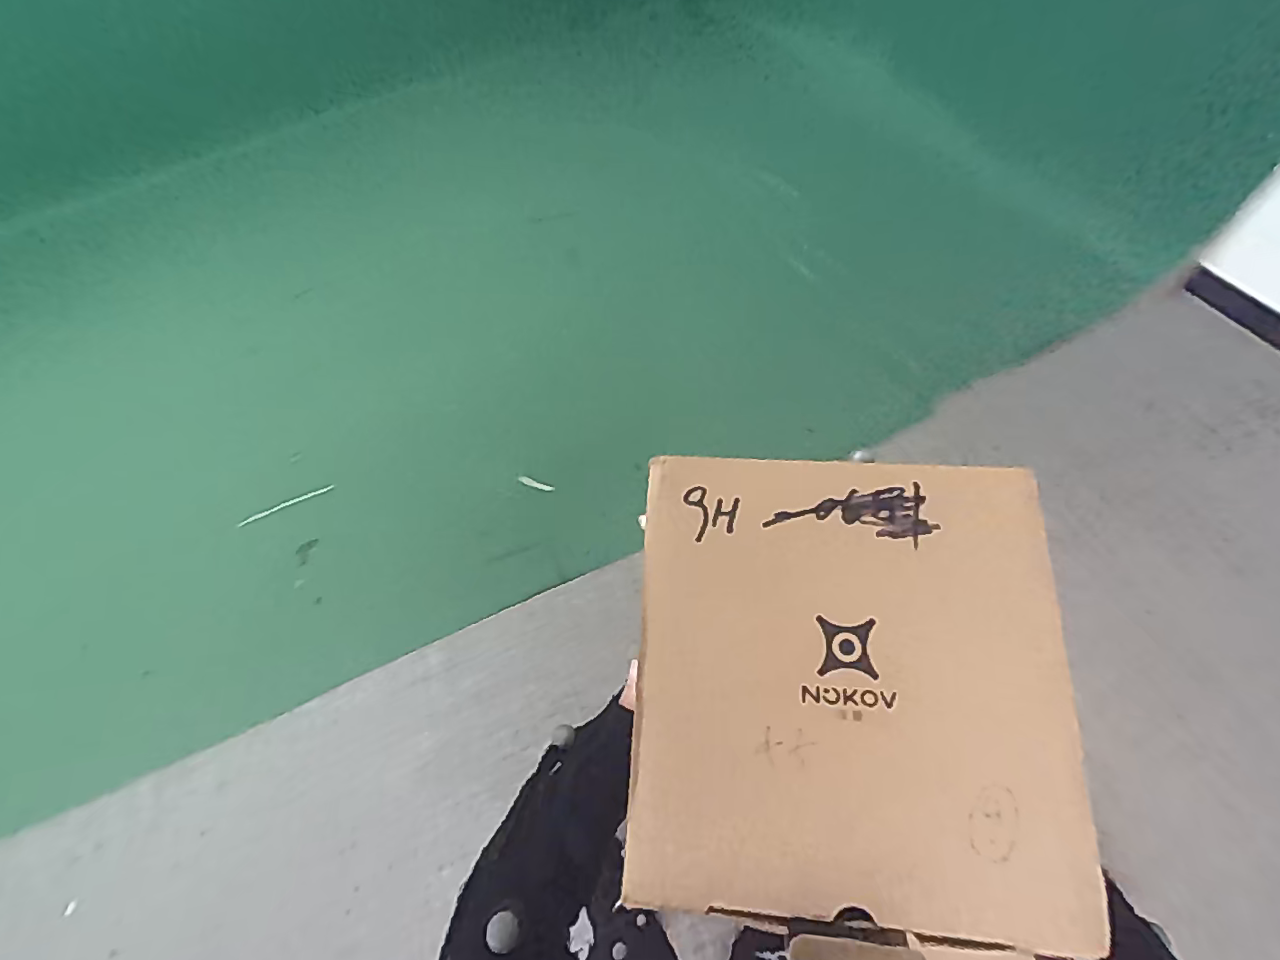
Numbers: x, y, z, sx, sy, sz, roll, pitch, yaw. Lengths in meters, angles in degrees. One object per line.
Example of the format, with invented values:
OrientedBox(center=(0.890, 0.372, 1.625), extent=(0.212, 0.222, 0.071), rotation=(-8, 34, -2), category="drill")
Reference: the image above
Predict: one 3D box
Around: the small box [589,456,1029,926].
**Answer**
OrientedBox(center=(0.073, 0.095, 0.301), extent=(0.168, 0.176, 0.179), rotation=(2, 75, 5), category="small box")
